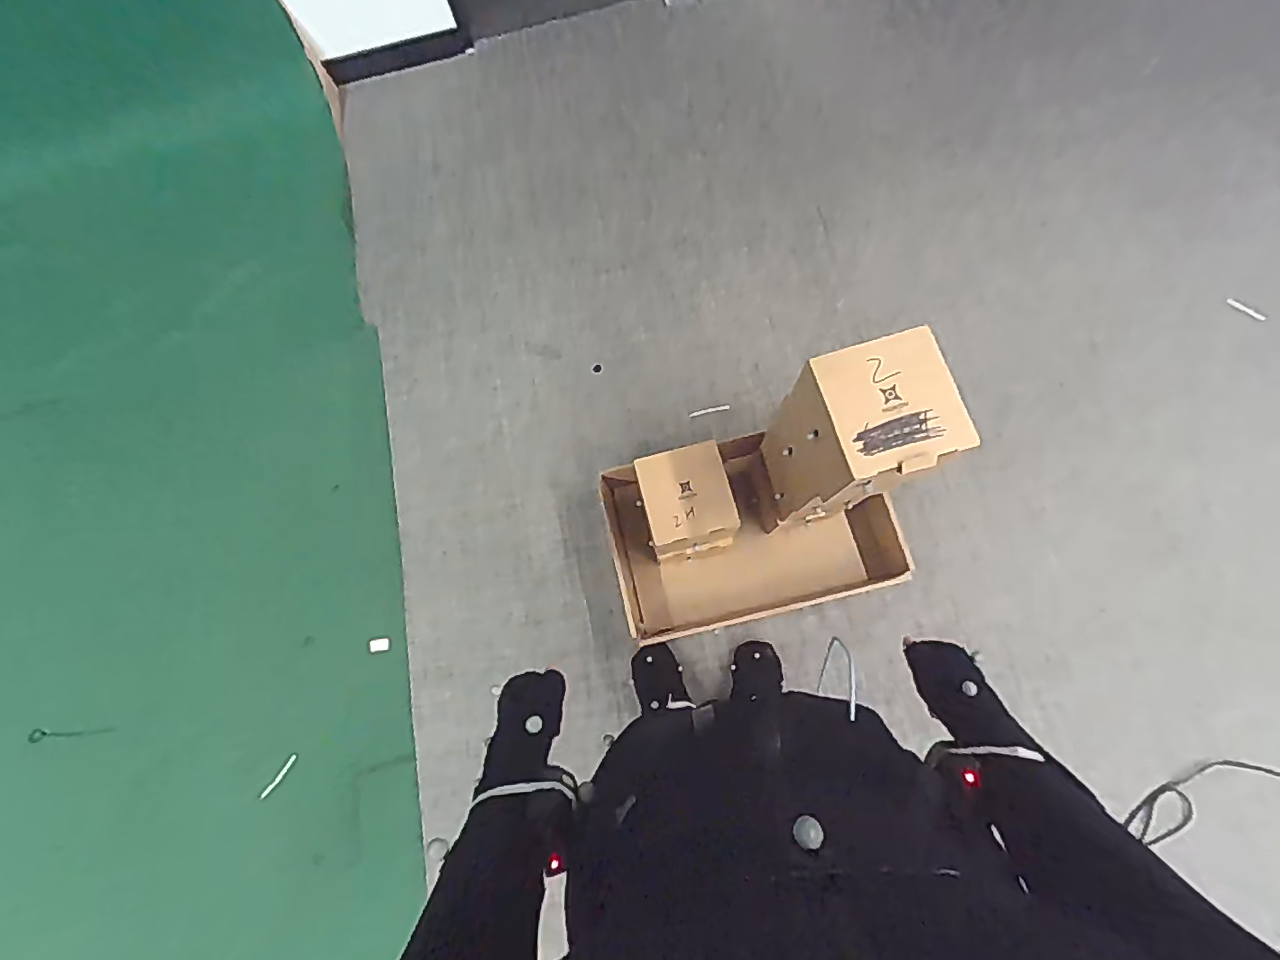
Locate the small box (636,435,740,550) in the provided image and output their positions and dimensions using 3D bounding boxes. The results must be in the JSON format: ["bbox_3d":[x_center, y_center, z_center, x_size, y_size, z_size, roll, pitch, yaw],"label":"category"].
[{"bbox_3d":[0.092,0.032,1.096,0.168,0.176,0.179,-14,76,0],"label":"small box"}]

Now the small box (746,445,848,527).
[{"bbox_3d":[0.356,0.003,1.253,0.168,0.176,0.179,-18,76,2],"label":"small box"}]

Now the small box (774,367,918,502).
[{"bbox_3d":[0.341,-0.066,0.932,0.168,0.176,0.179,-13,77,1],"label":"small box"}]

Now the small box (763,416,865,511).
[{"bbox_3d":[0.354,-0.041,1.077,0.168,0.176,0.179,-14,77,2],"label":"small box"}]
